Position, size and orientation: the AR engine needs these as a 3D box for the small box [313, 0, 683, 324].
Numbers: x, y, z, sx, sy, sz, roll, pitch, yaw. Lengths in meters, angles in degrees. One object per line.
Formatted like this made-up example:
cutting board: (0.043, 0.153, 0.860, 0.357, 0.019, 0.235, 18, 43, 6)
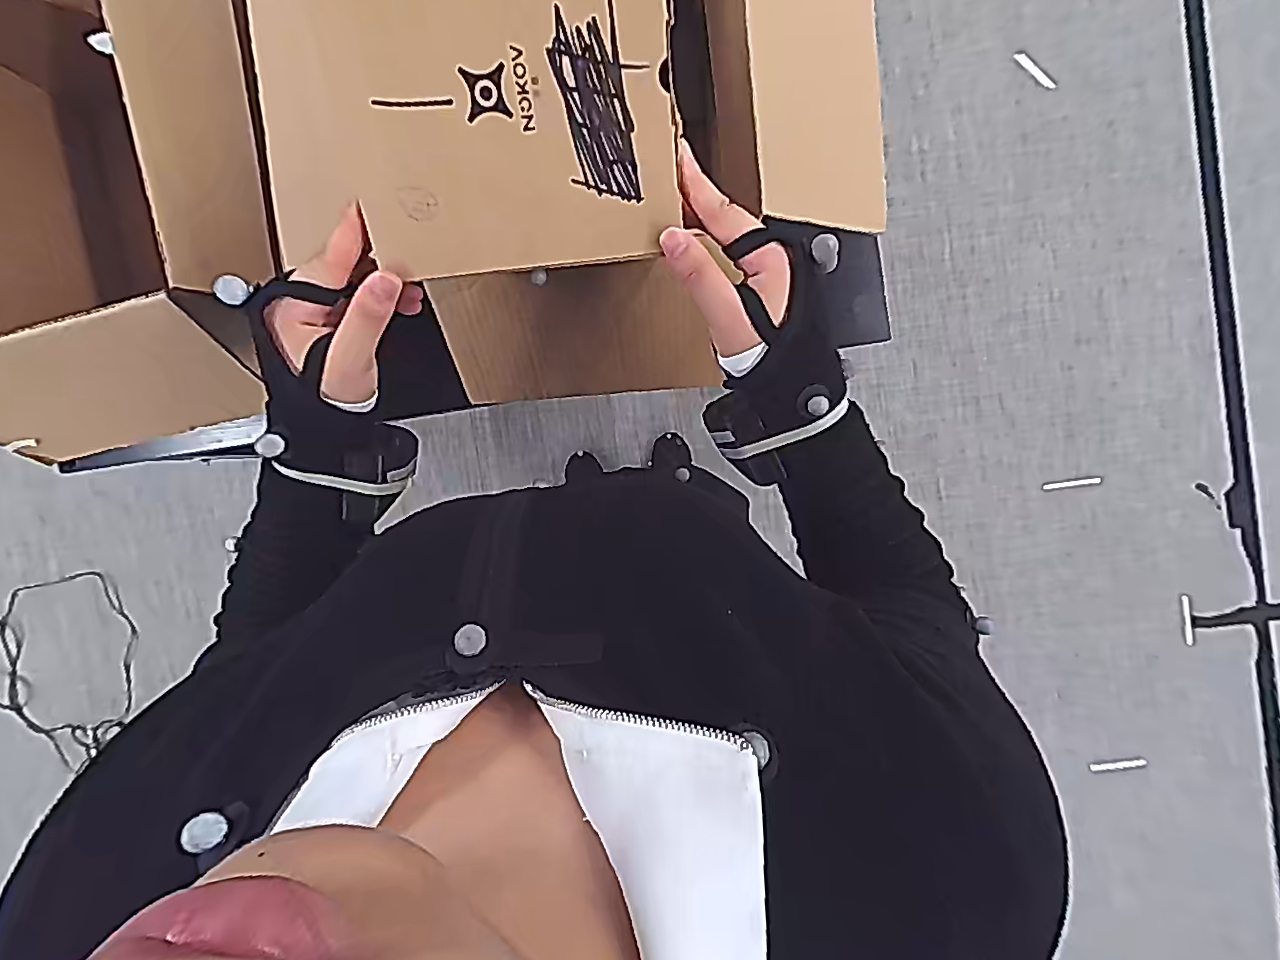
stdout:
small box: (-0.070, -0.211, 0.365, 0.179, 0.176, 0.168, -6, 116, 1)
